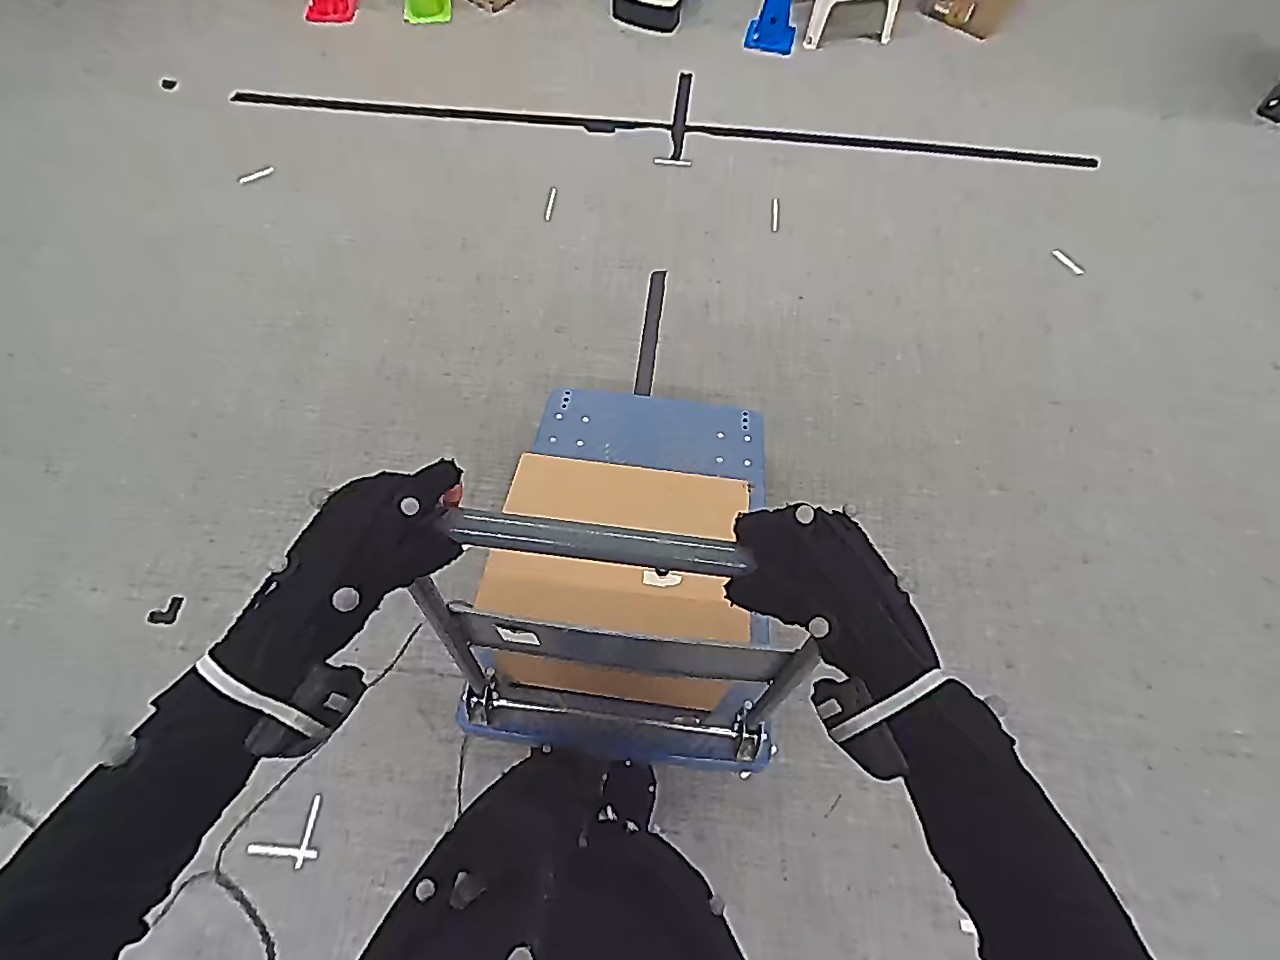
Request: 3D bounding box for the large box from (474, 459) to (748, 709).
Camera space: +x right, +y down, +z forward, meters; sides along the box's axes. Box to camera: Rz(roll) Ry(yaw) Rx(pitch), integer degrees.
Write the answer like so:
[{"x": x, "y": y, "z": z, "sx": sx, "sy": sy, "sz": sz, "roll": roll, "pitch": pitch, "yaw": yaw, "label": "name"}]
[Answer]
[{"x": -0.039, "y": 0.194, "z": 0.977, "sx": 0.408, "sy": 0.320, "sz": 0.320, "roll": 8, "pitch": 54, "yaw": 1, "label": "large box"}]
